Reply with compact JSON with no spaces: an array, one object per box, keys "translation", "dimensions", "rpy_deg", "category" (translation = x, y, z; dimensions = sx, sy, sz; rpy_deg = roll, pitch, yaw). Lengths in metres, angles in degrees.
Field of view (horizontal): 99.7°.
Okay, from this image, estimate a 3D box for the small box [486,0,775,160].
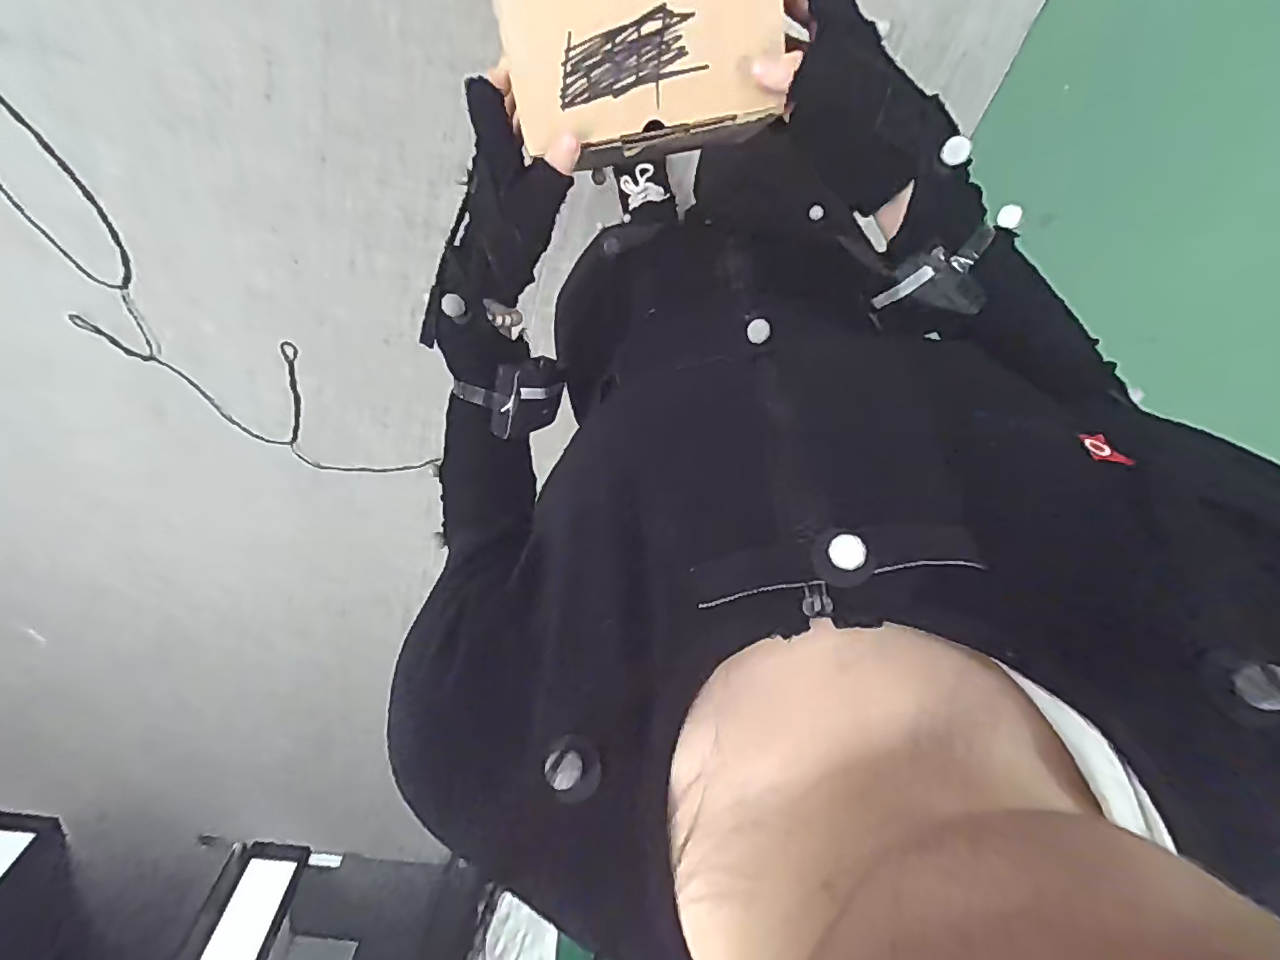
[{"translation":[-0.008,-0.332,0.370],"dimensions":[0.168,0.176,0.179],"rpy_deg":[-8,115,5],"category":"small box"}]
